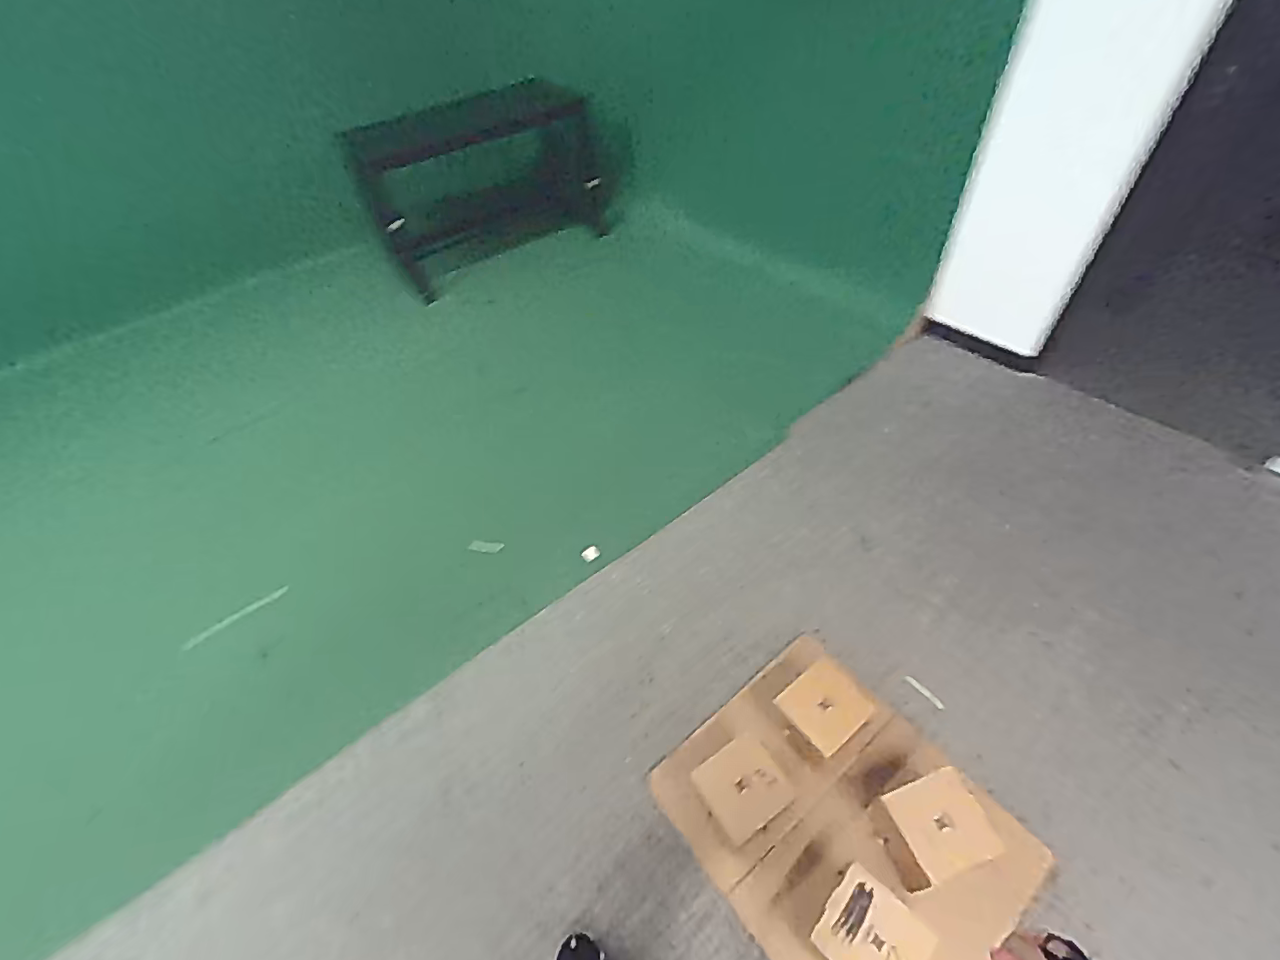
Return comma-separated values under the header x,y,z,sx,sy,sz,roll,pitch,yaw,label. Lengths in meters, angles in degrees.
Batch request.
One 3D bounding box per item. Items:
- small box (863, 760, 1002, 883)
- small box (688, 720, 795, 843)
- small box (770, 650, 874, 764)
x,y,z,sx,sy,sz,roll,pitch,yaw,label
0.612,0.732,1.158,0.179,0.176,0.168,-17,49,-9,small box
0.227,0.692,1.236,0.179,0.176,0.168,-28,53,-17,small box
0.438,0.561,1.329,0.179,0.176,0.168,-31,54,-20,small box
